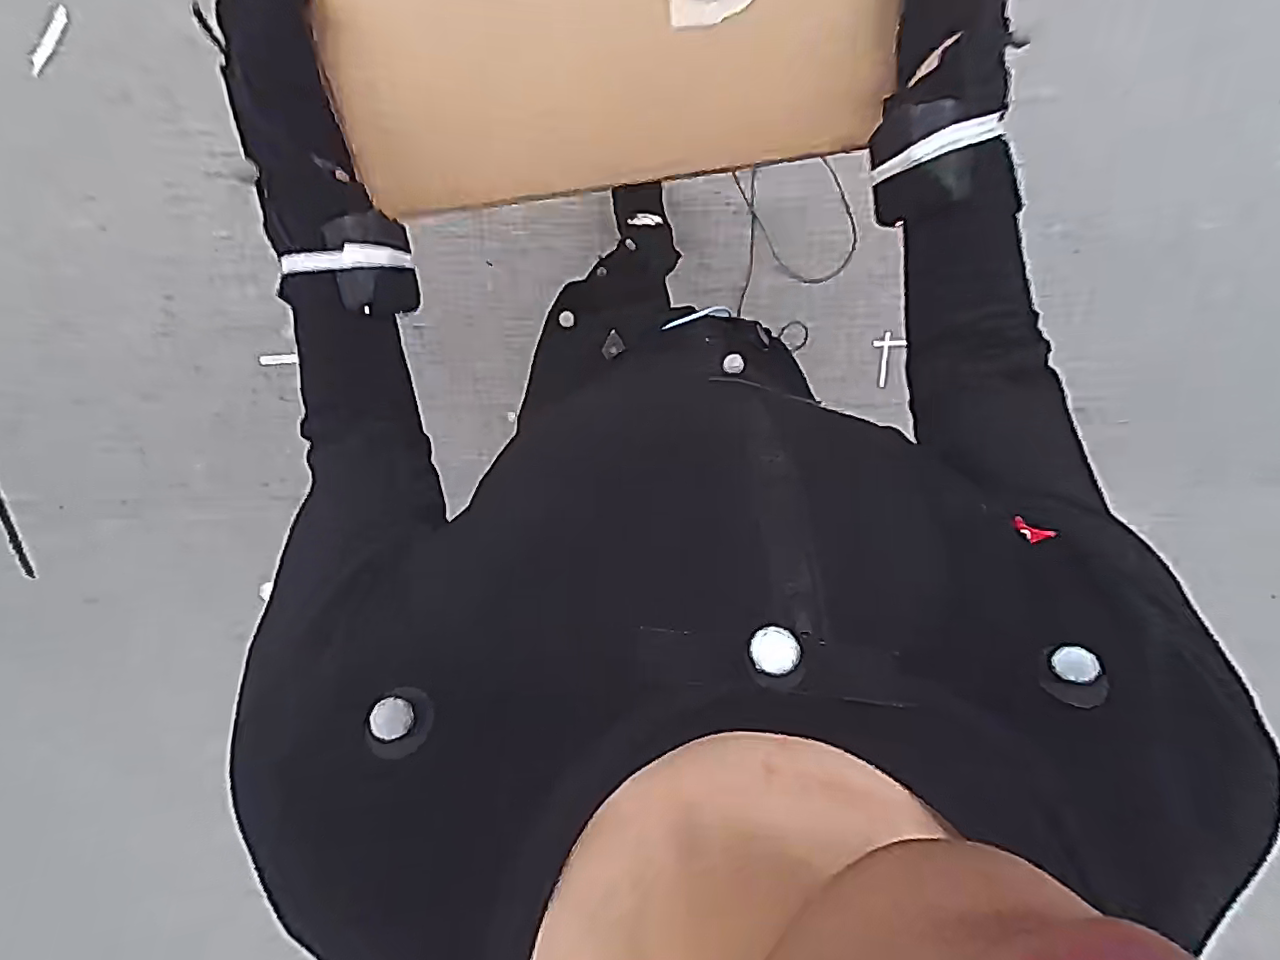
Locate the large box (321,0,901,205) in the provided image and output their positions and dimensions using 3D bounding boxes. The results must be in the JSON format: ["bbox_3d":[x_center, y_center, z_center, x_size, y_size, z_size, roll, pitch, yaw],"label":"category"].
[{"bbox_3d":[-0.031,-0.449,0.470,0.408,0.320,0.320,-7,122,1],"label":"large box"}]
